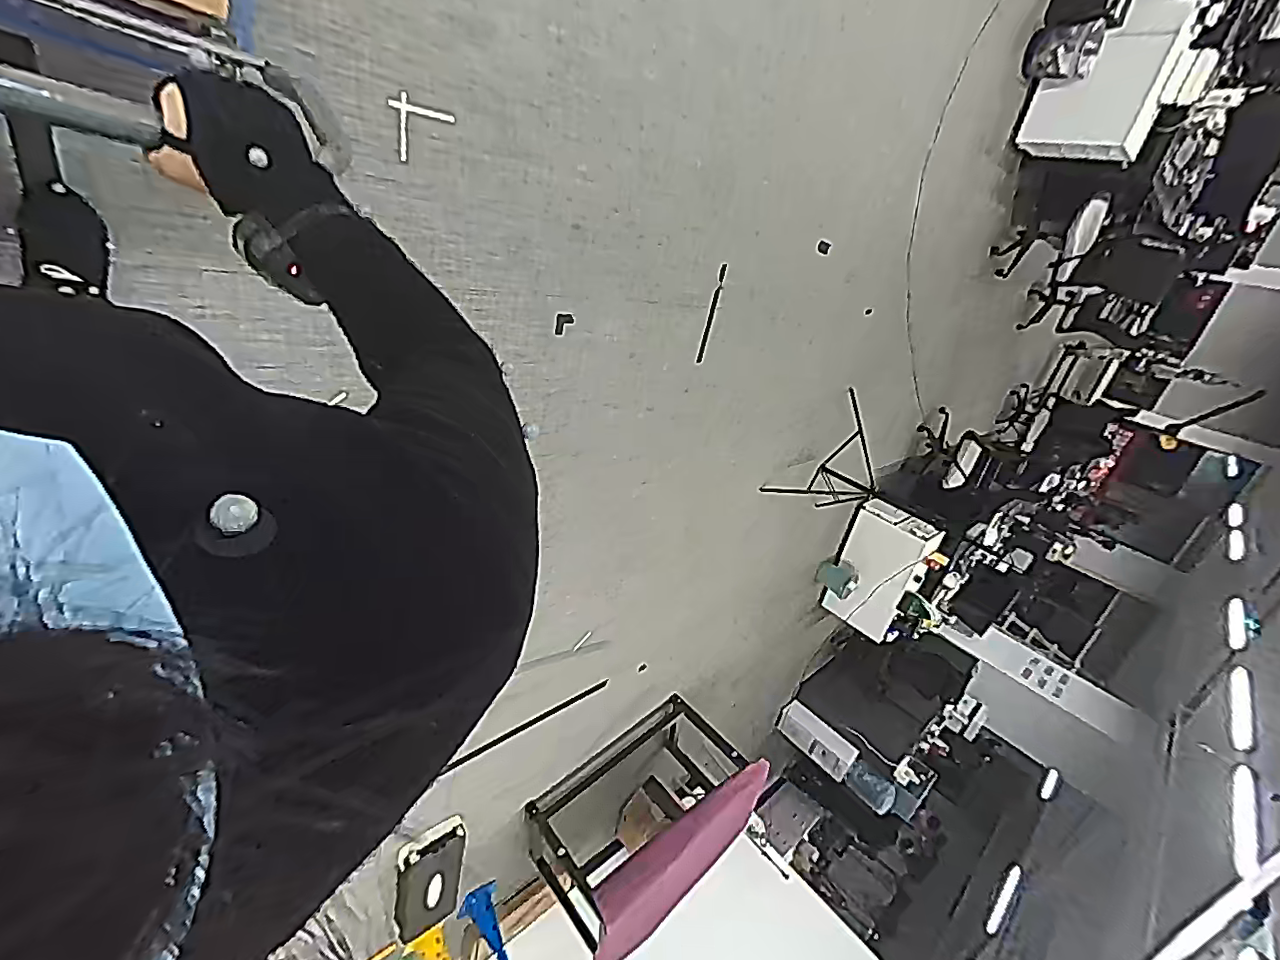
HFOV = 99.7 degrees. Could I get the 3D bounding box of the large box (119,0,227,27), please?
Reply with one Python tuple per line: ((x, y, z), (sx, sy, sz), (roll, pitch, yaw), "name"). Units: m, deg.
((-0.702, -0.737, 0.545), (0.408, 0.320, 0.320), (-8, 127, -46), "large box")
